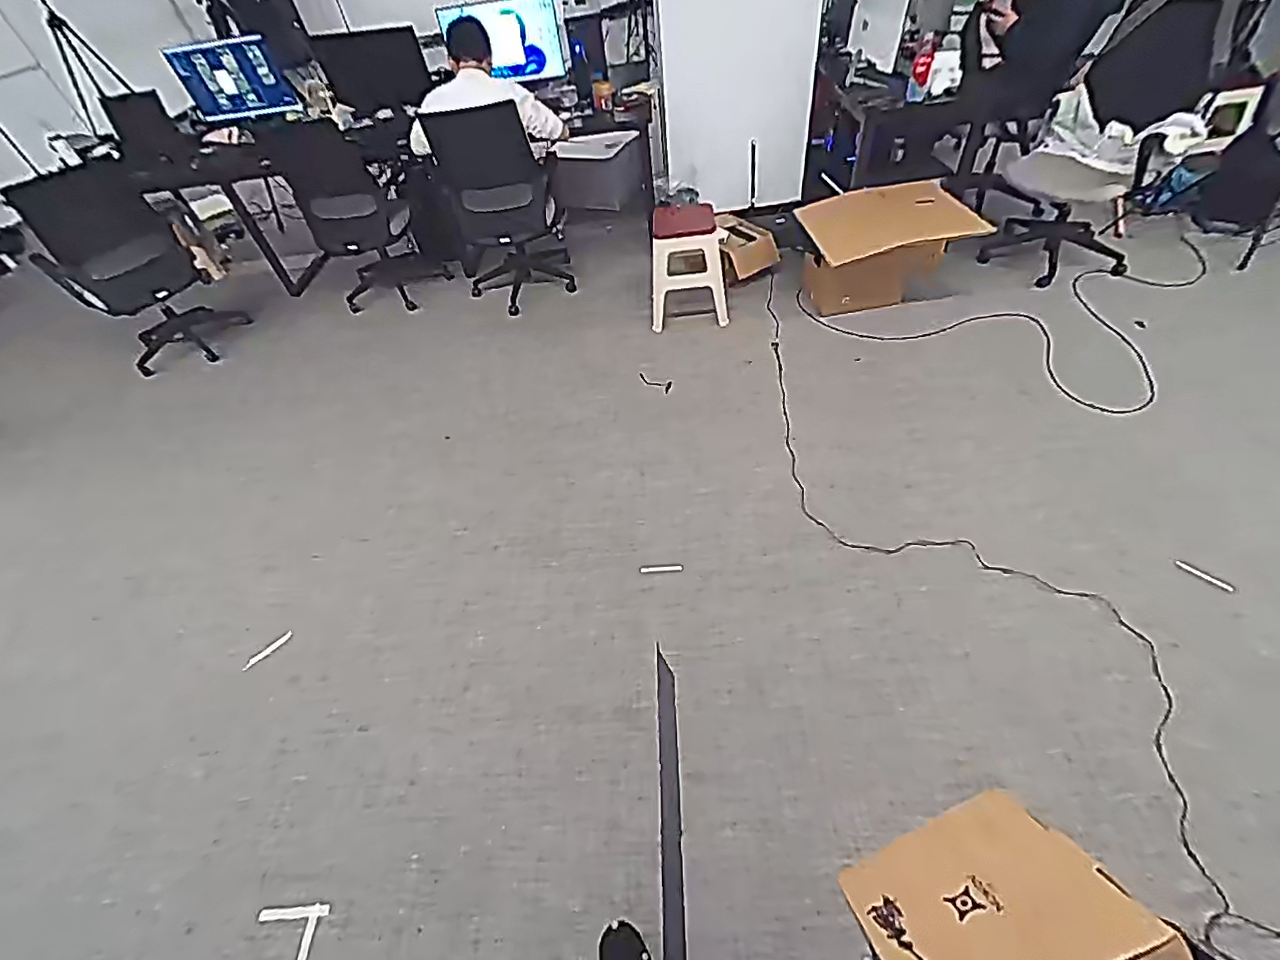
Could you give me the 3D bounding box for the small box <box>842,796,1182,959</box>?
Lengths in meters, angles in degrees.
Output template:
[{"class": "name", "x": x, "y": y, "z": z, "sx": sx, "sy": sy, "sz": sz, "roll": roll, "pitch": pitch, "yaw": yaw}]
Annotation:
[{"class": "small box", "x": 0.303, "y": 0.410, "z": 0.433, "sx": 0.179, "sy": 0.168, "sz": 0.176, "roll": -26, "pitch": 90, "yaw": -2}]
